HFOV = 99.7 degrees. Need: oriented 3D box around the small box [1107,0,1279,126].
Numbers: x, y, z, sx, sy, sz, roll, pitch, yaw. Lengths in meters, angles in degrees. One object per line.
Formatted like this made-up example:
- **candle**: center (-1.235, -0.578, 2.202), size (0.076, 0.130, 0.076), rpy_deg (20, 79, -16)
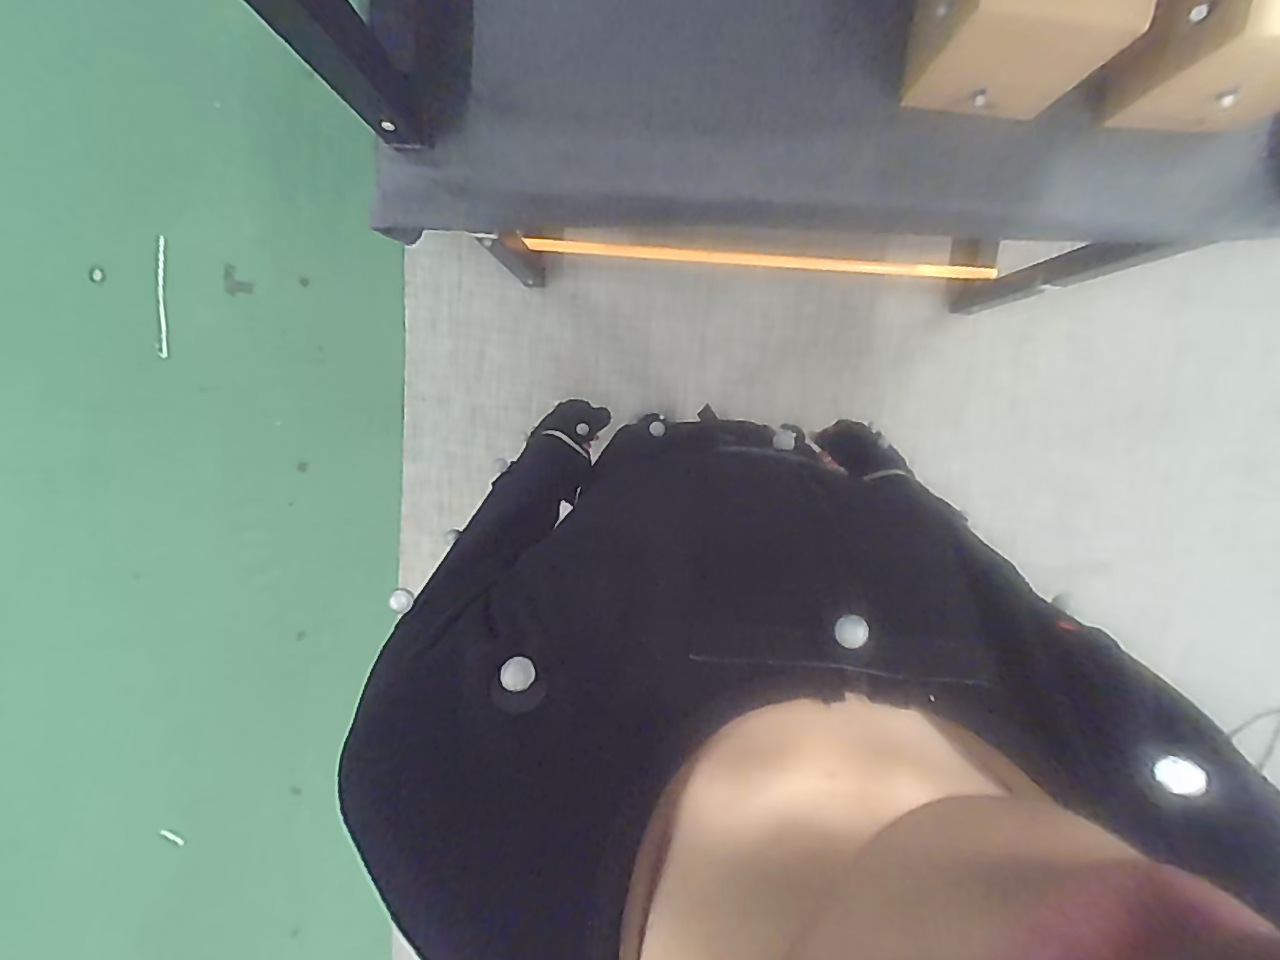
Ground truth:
- **small box**: center (0.659, -0.515, 0.582), size (0.168, 0.176, 0.179), rpy_deg (3, 97, 1)
